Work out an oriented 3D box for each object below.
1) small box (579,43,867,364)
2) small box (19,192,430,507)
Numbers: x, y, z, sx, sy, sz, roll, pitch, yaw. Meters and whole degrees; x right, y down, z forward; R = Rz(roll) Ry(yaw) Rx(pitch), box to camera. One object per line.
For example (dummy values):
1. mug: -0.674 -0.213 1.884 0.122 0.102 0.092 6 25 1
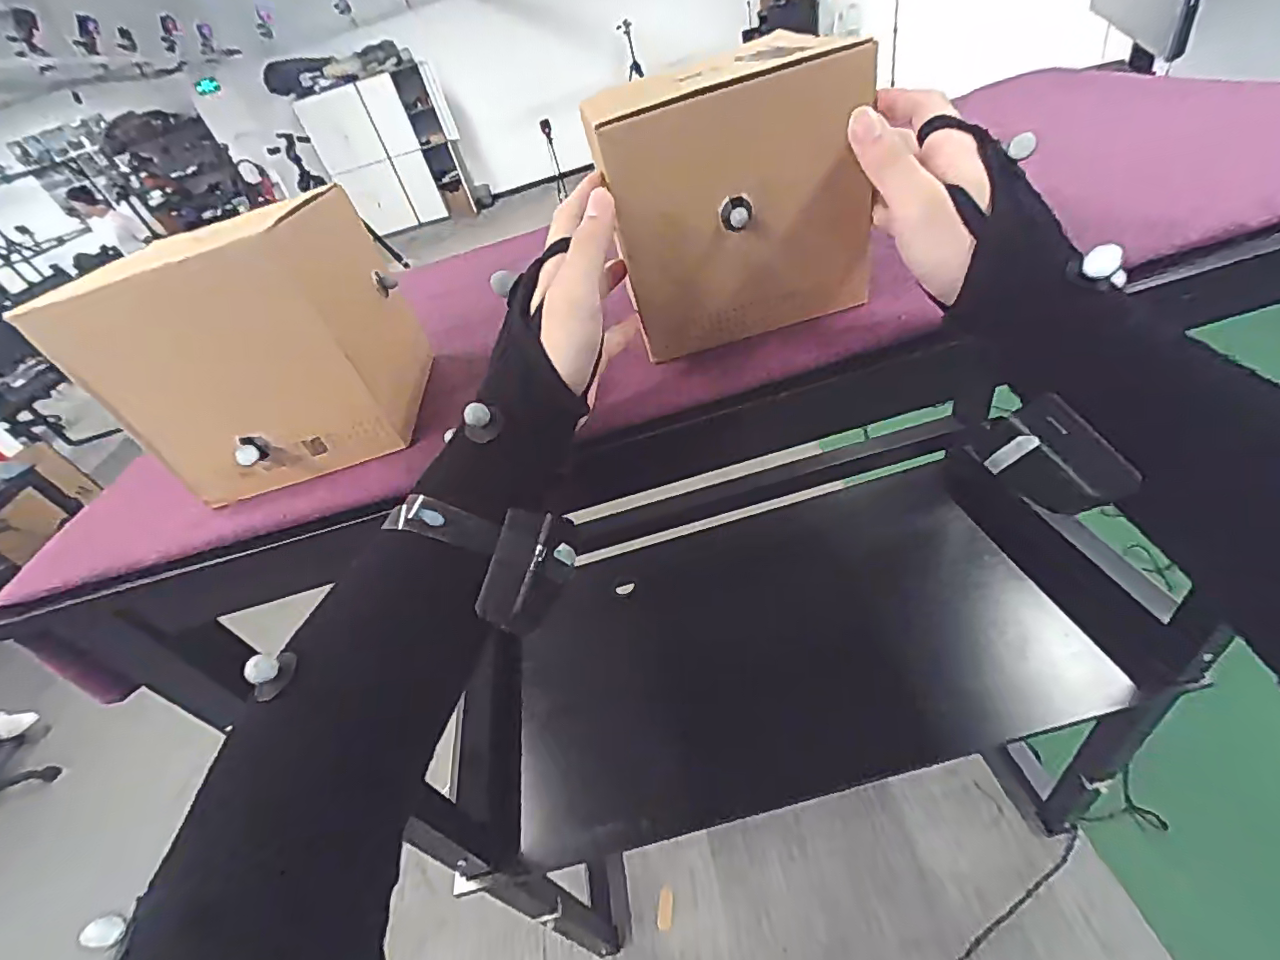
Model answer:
1. small box: 0.061 -0.220 0.434 0.179 0.176 0.168 -16 39 4
2. small box: -0.291 -0.108 0.438 0.168 0.176 0.179 -18 38 1
